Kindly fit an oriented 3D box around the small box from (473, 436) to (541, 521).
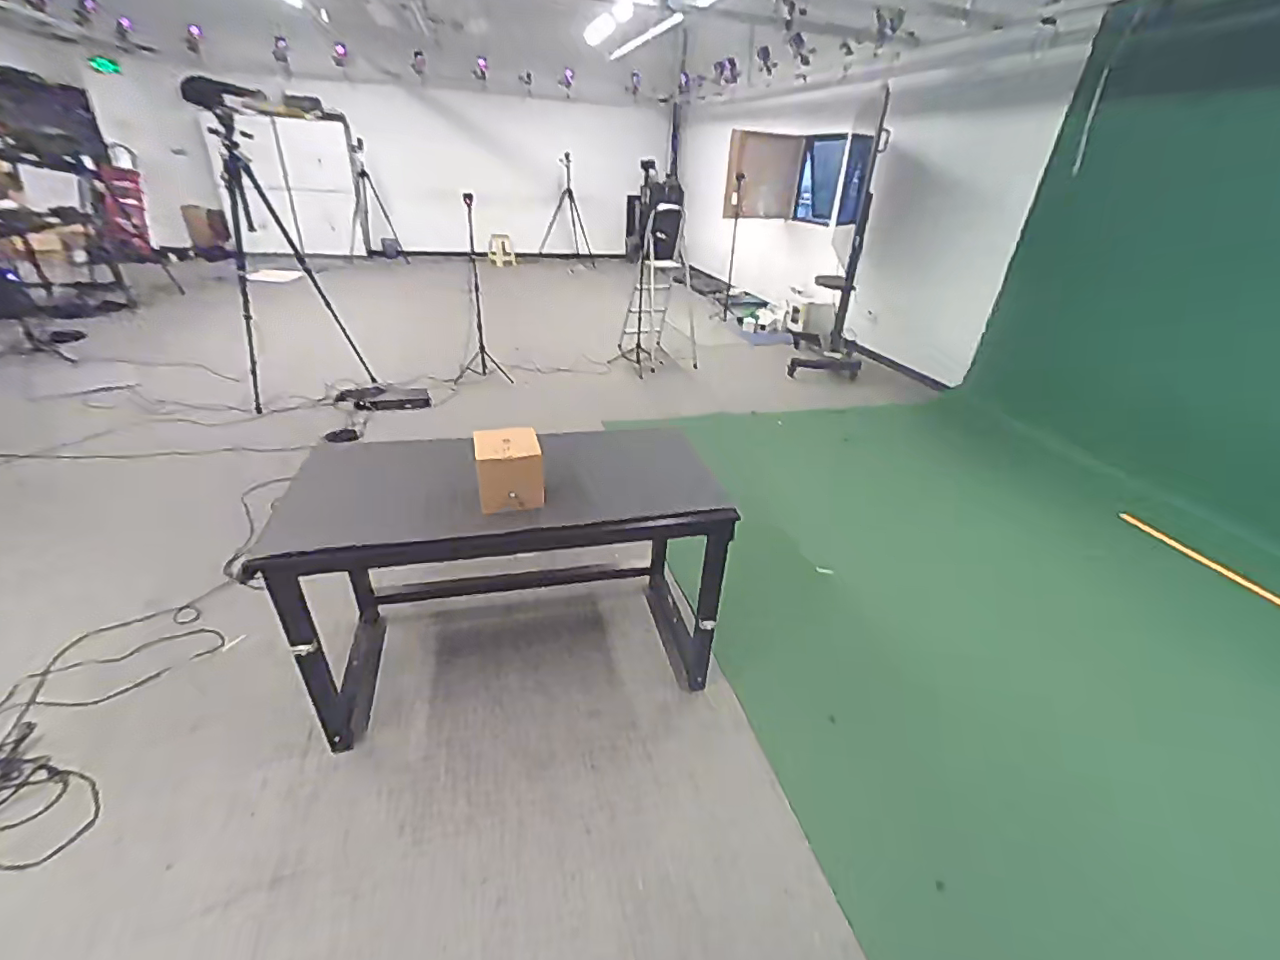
[{"bbox_3d":[-0.365,-0.008,1.477,0.168,0.176,0.179,-6,30,-17],"label":"small box"}]
